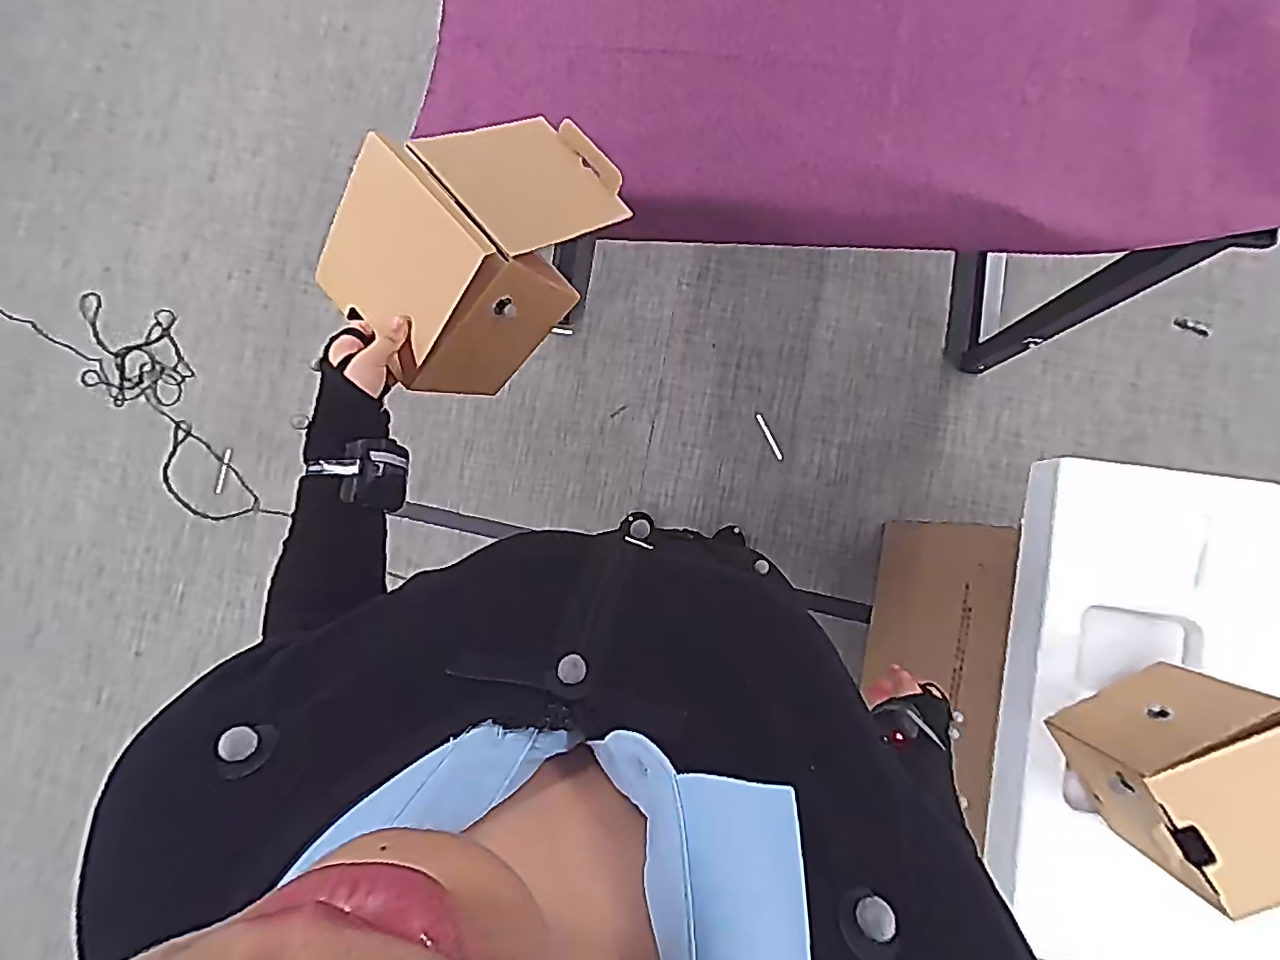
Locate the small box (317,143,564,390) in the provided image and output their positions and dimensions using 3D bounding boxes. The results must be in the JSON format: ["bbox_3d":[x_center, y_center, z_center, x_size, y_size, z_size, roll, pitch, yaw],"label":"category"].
[{"bbox_3d":[-0.209,-0.222,0.617,0.179,0.176,0.168,-43,82,16],"label":"small box"}]
